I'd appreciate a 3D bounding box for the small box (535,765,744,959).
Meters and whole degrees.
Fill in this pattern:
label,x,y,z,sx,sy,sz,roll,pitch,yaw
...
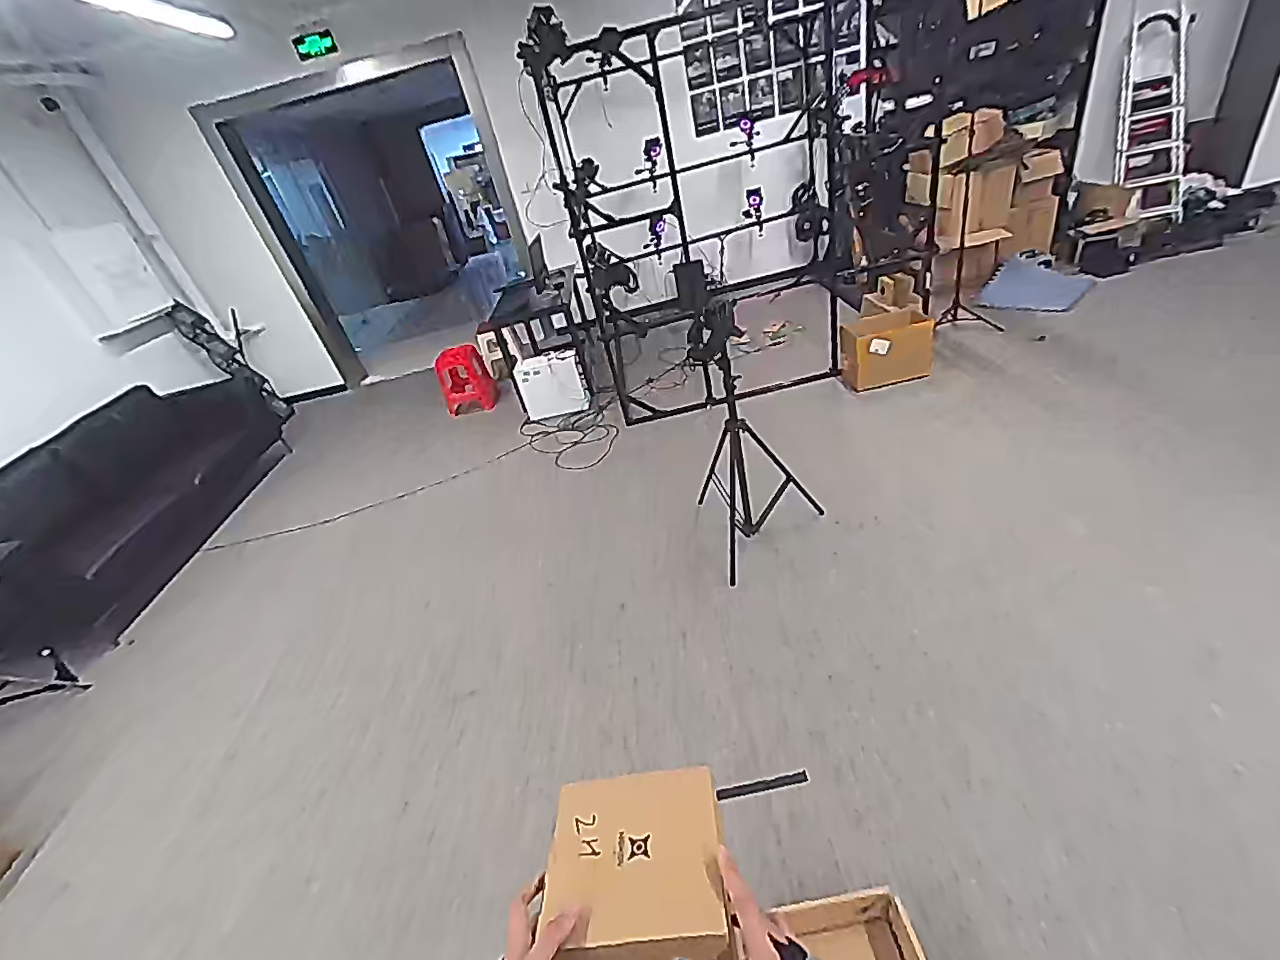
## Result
label,x,y,z,sx,sy,sz,roll,pitch,yaw
small box,0.011,0.435,0.565,0.179,0.176,0.168,-11,22,6
